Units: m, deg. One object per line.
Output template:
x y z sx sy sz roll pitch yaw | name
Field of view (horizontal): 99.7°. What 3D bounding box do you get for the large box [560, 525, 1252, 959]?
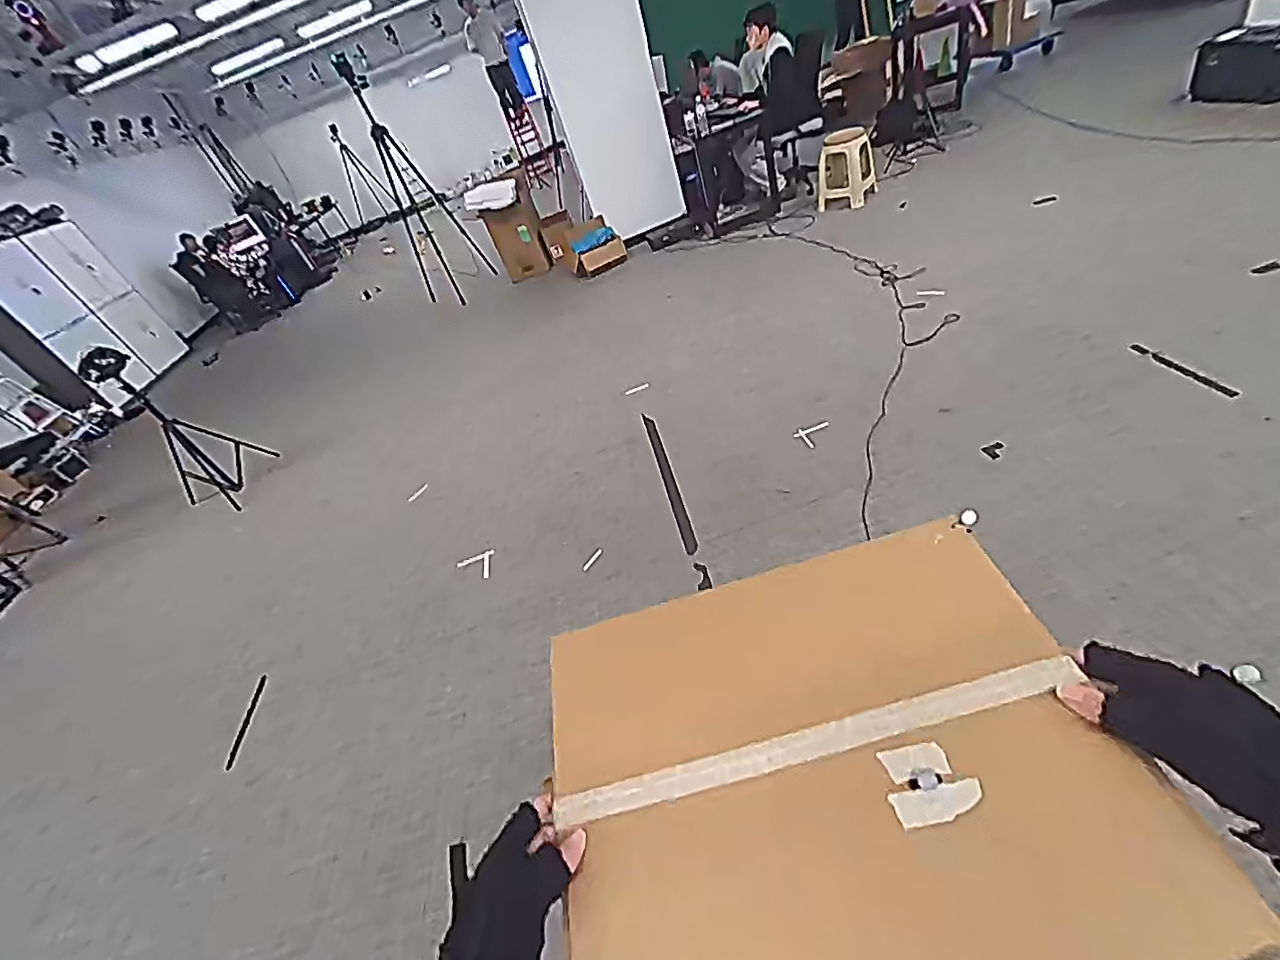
0.172 0.307 0.523 0.408 0.320 0.320 -18 45 4 | large box
